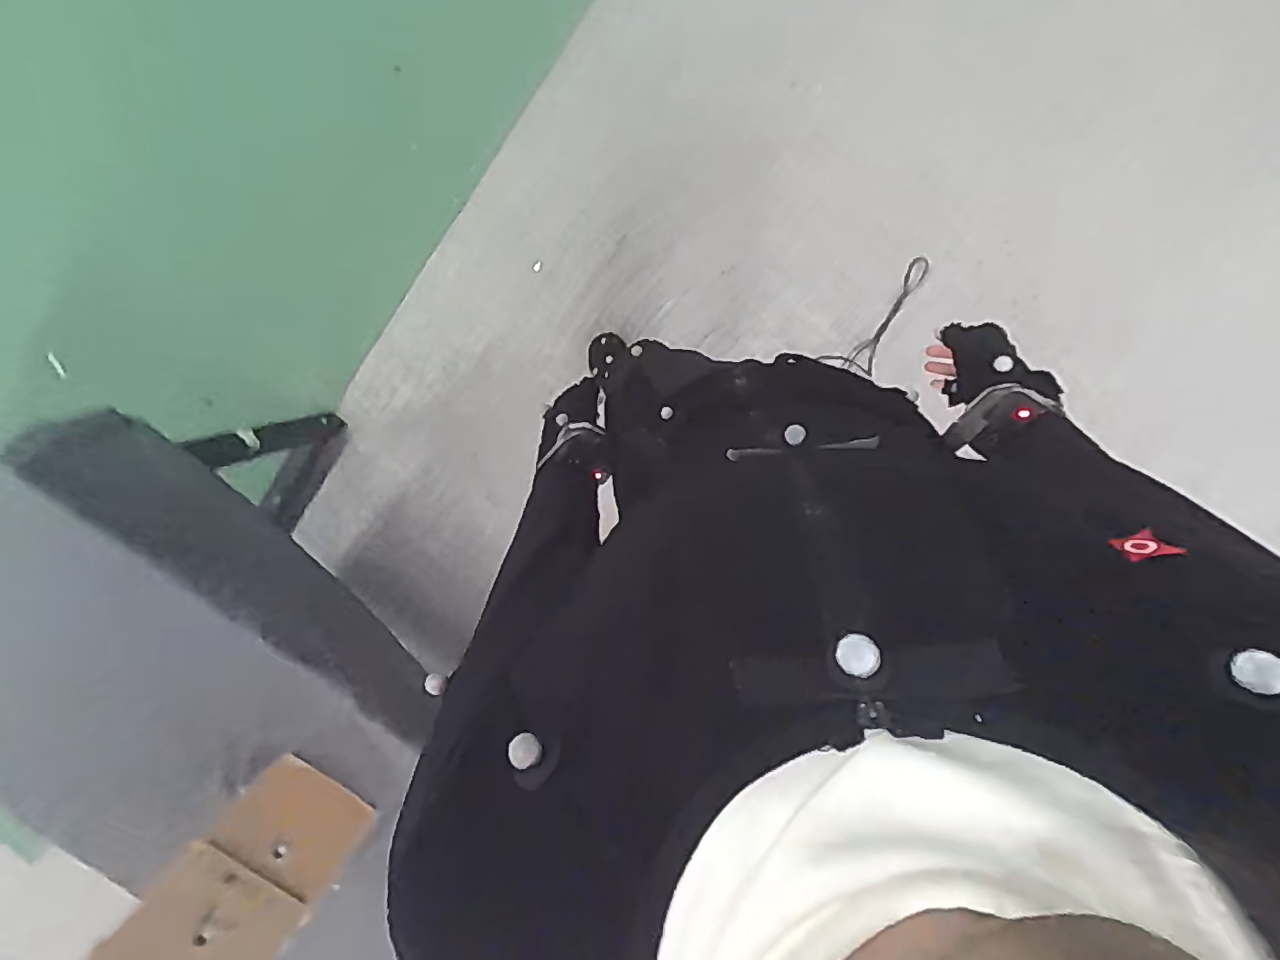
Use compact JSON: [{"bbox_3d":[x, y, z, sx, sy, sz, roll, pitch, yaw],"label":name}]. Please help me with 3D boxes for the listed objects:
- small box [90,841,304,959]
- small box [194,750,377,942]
[{"bbox_3d":[-0.546,0.584,0.642,0.168,0.176,0.179,37,104,-5],"label":"small box"},{"bbox_3d":[-0.534,0.548,0.801,0.179,0.176,0.168,37,104,-4],"label":"small box"}]
